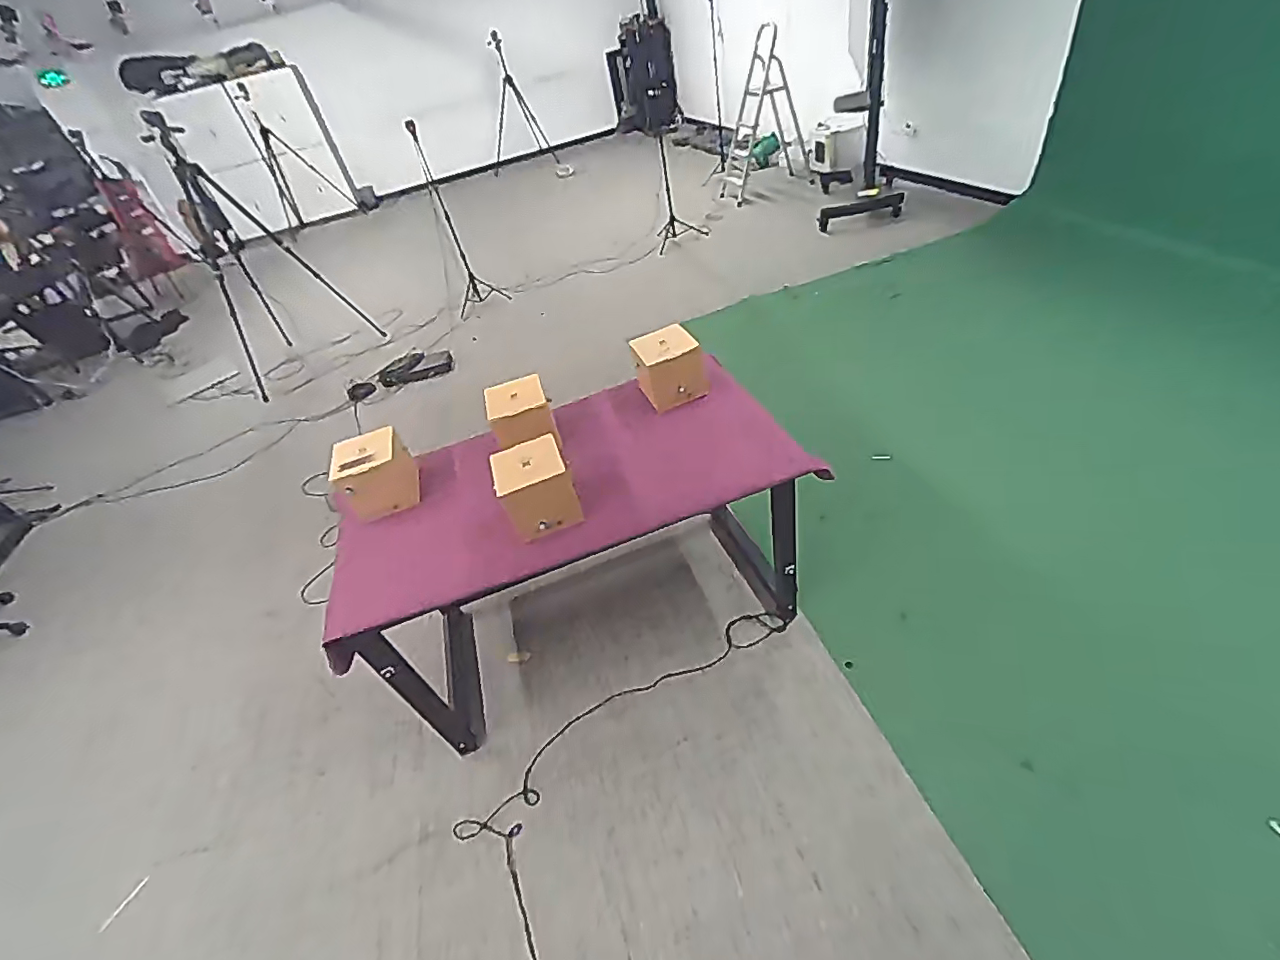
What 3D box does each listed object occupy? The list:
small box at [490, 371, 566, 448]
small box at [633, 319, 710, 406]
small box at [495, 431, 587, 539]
[{"bbox_3d":[-0.328,-0.187,1.586,0.168,0.176,0.179,-19,44,-4],"label":"small box"},{"bbox_3d":[0.095,-0.352,1.624,0.168,0.176,0.179,-24,43,-4],"label":"small box"},{"bbox_3d":[-0.245,0.014,1.342,0.168,0.176,0.179,-21,41,-4],"label":"small box"}]
